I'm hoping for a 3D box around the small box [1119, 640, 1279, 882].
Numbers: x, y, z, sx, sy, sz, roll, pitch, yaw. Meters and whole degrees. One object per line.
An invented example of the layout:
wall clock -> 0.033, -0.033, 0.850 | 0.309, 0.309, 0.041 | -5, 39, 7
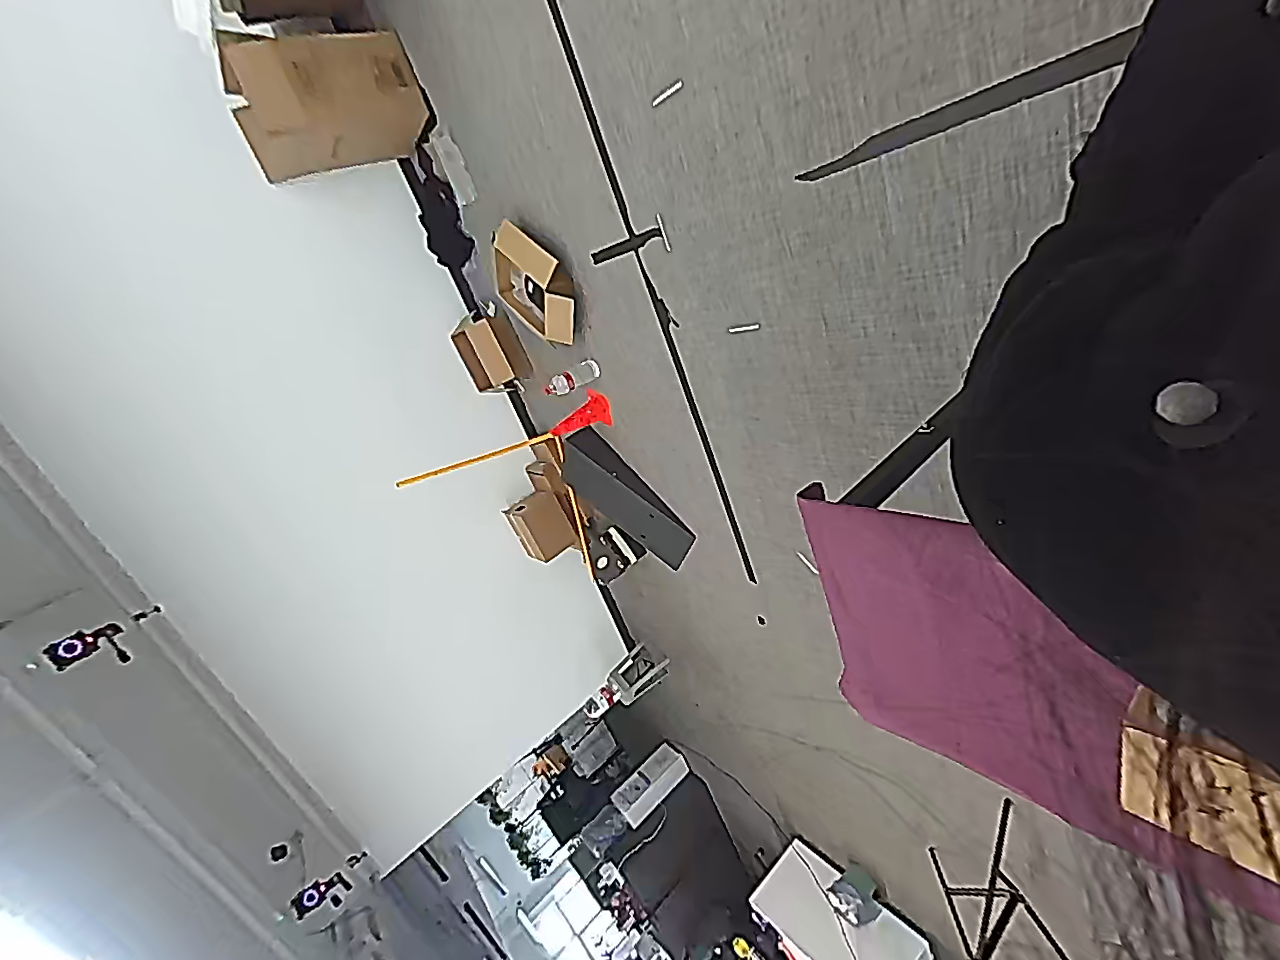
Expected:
small box -> 0.728, 0.337, 0.669 | 0.168, 0.176, 0.179 | 13, 131, 52
